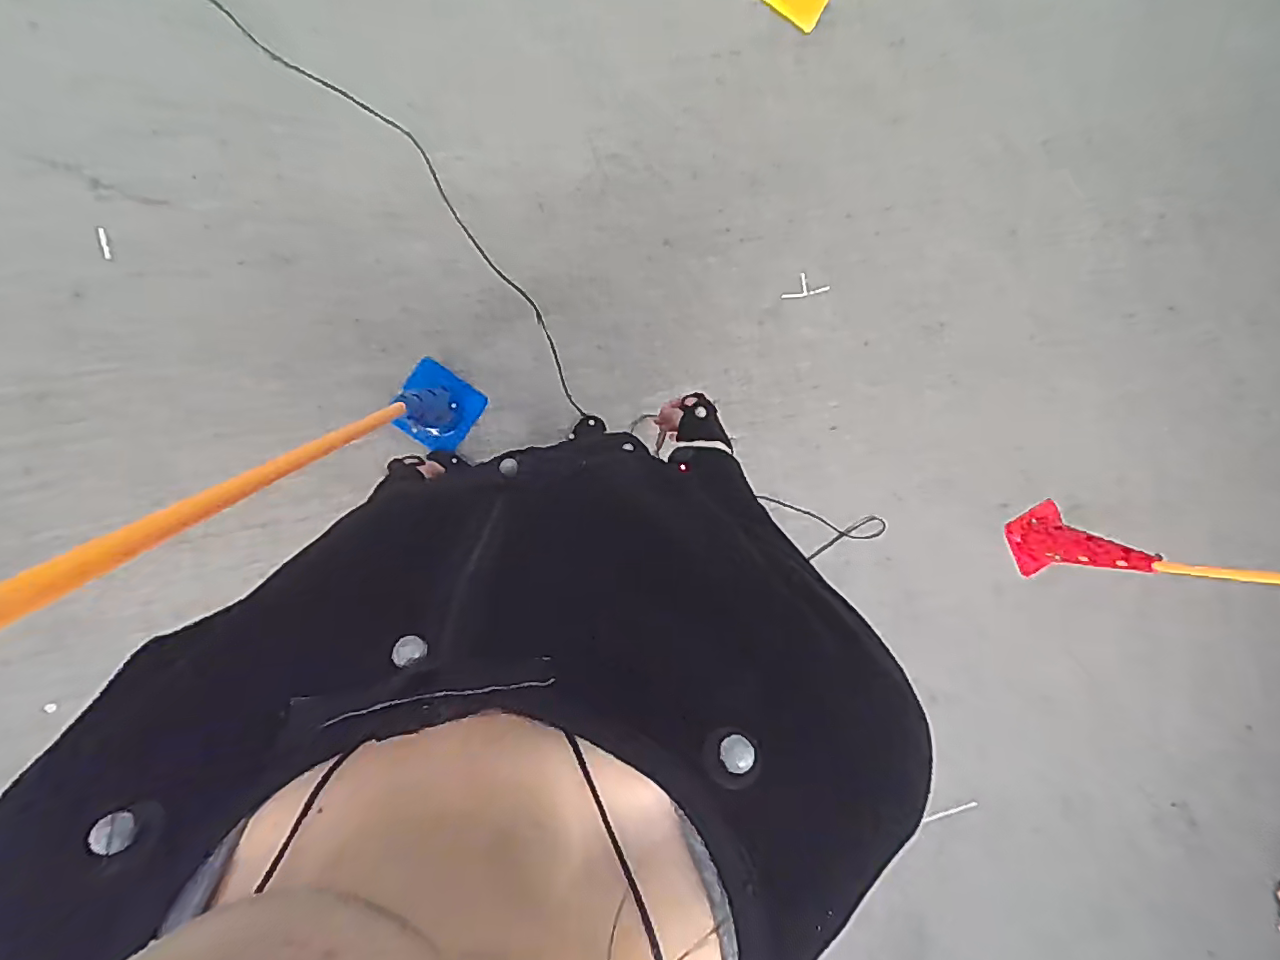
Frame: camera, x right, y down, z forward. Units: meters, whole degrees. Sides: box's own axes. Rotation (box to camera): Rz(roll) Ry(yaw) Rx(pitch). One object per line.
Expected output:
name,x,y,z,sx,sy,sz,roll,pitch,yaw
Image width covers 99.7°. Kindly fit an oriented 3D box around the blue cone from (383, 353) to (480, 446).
blue cone,-0.499,-0.177,1.225,0.192,0.380,0.193,34,93,-13
